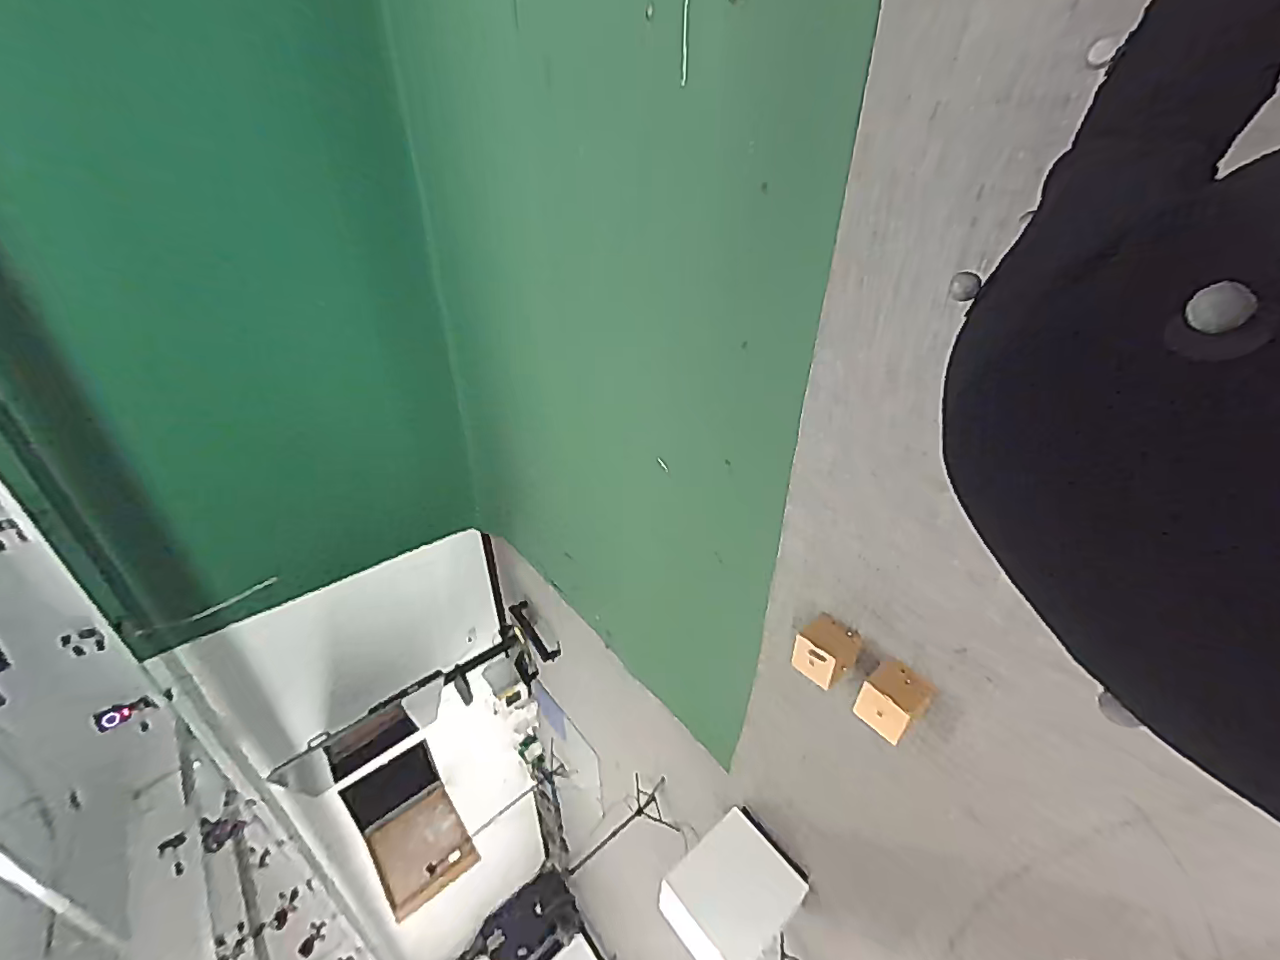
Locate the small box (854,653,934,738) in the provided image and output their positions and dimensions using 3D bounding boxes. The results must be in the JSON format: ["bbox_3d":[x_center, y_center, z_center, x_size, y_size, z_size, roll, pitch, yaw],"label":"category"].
[{"bbox_3d":[0.876,0.736,1.861,0.168,0.176,0.179,36,136,40],"label":"small box"}]

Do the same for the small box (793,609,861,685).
[{"bbox_3d":[0.706,0.621,2.035,0.168,0.176,0.179,33,135,42],"label":"small box"}]
